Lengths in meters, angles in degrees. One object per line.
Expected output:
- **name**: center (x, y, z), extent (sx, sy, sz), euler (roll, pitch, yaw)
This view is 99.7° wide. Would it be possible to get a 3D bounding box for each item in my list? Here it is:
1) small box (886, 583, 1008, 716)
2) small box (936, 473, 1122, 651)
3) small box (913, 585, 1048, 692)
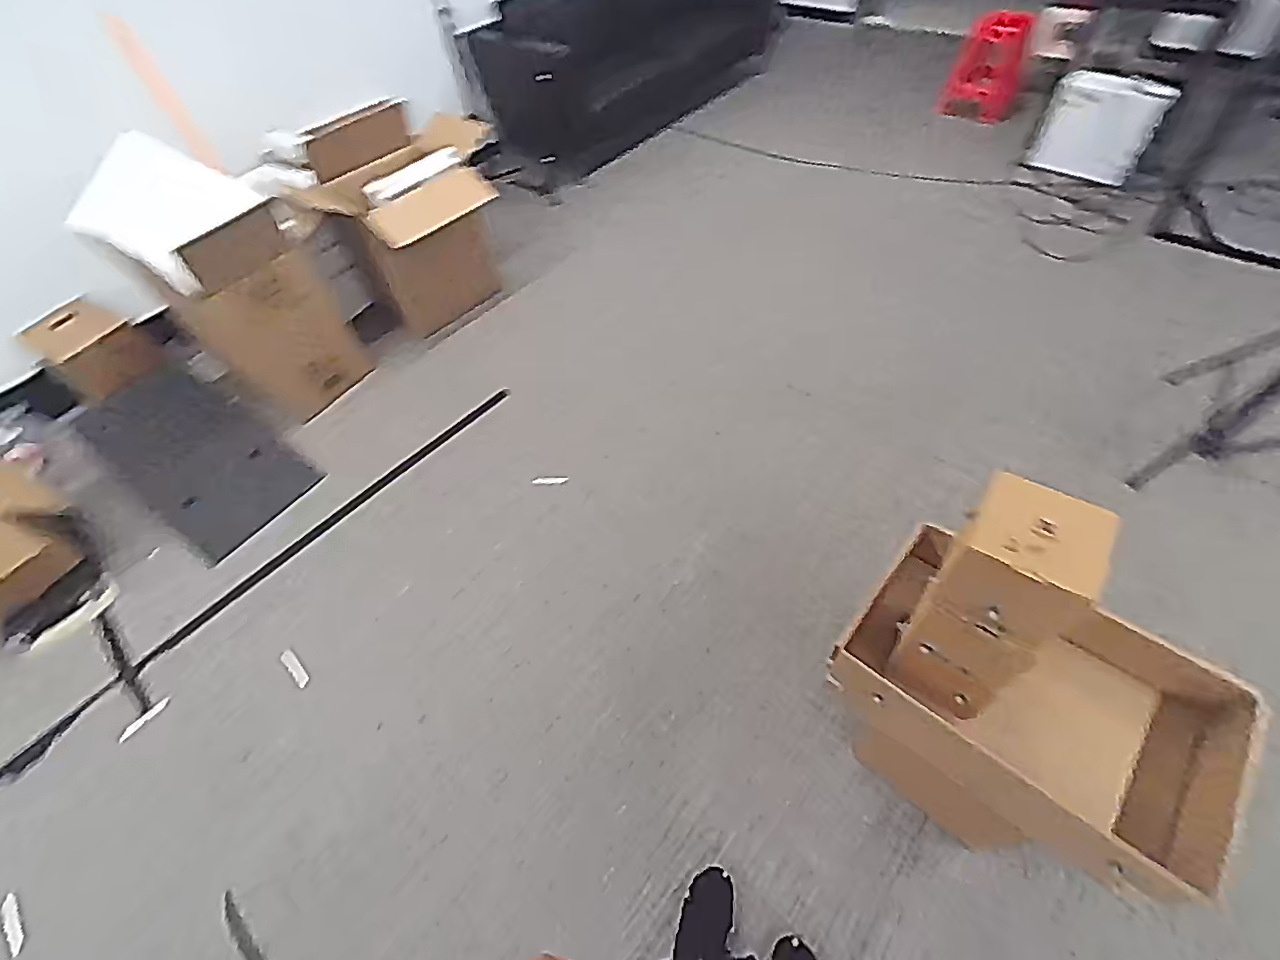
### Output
- **small box**: center (0.626, 0.346, 1.085), extent (0.179, 0.176, 0.168), euler (28, 60, 26)
- **small box**: center (0.591, 0.128, 0.840), extent (0.168, 0.176, 0.179), euler (28, 59, 26)
- **small box**: center (0.611, 0.241, 0.960), extent (0.168, 0.176, 0.179), euler (30, 60, 26)
